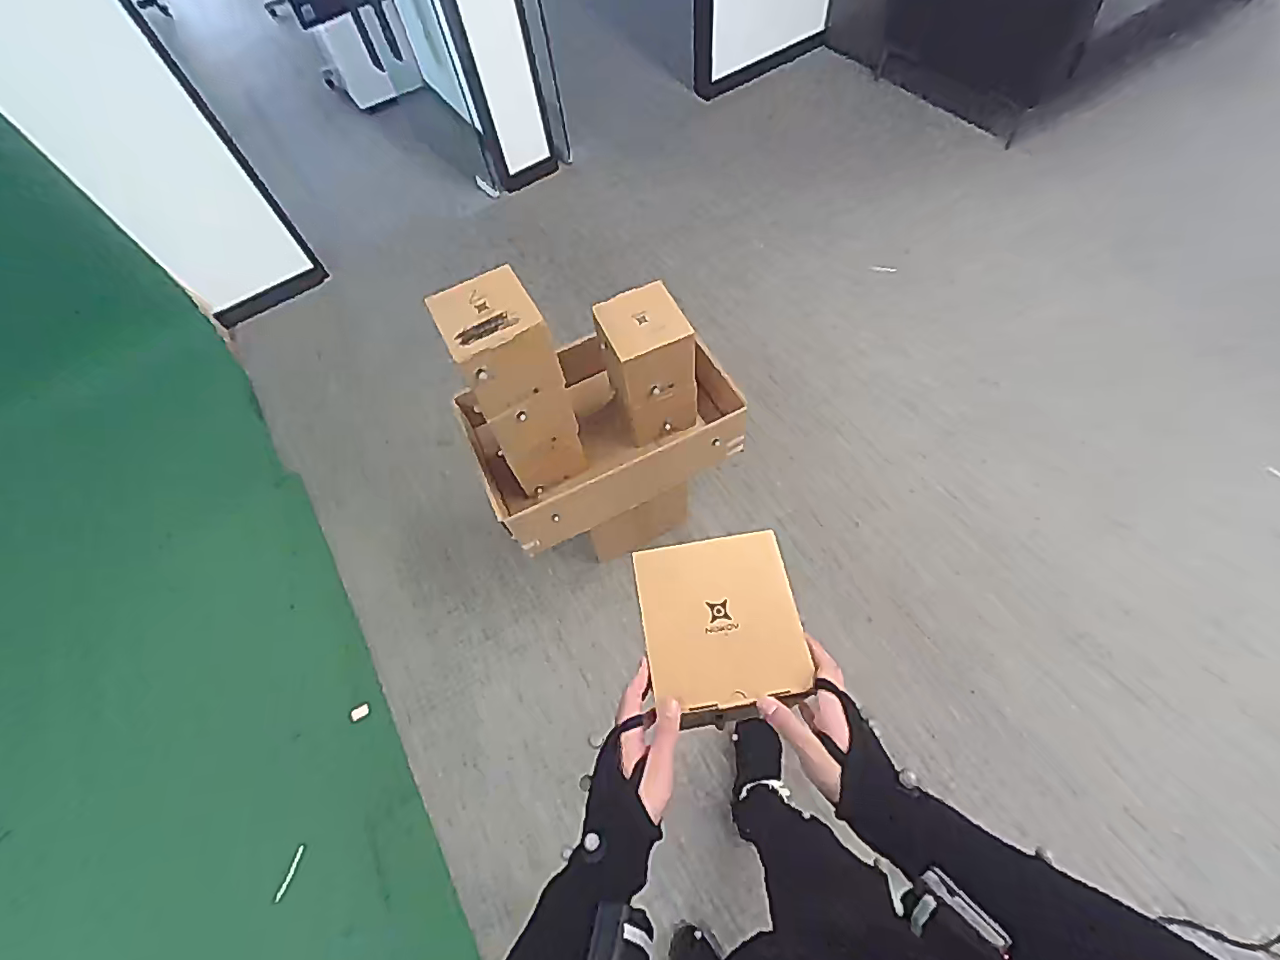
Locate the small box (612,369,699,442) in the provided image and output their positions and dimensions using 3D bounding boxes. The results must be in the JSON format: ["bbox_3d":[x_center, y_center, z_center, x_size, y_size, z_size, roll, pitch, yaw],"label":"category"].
[{"bbox_3d":[0.034,-0.225,1.323,0.168,0.176,0.179,-22,62,-6],"label":"small box"}]

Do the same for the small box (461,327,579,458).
[{"bbox_3d":[-0.247,-0.180,1.138,0.168,0.176,0.179,-28,62,-10],"label":"small box"}]

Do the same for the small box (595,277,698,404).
[{"bbox_3d":[0.016,-0.300,1.179,0.168,0.176,0.179,-23,62,-7],"label":"small box"}]

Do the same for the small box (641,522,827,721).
[{"bbox_3d":[0.093,0.172,0.636,0.168,0.176,0.179,-9,62,-3],"label":"small box"}]
